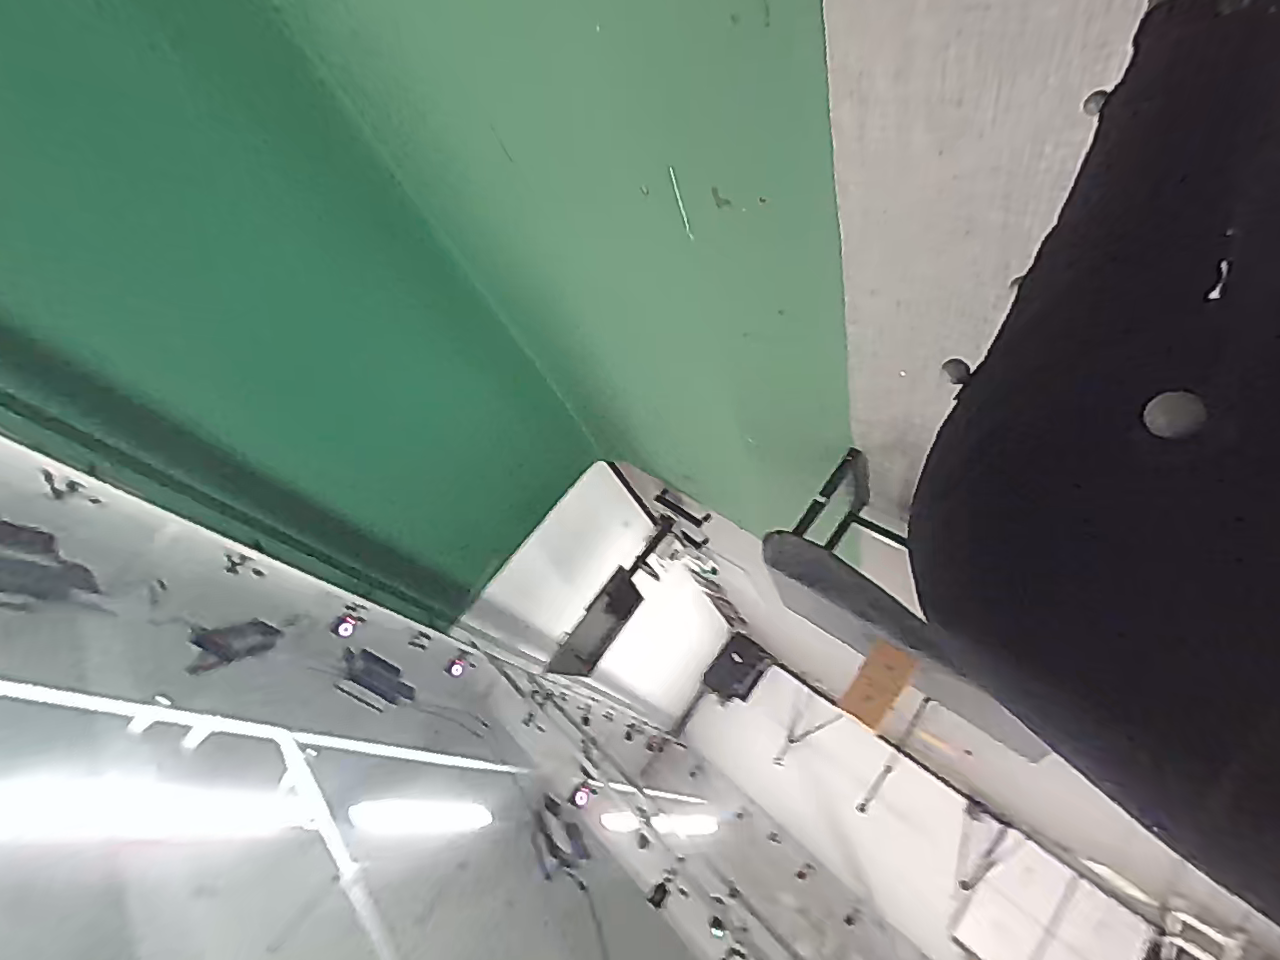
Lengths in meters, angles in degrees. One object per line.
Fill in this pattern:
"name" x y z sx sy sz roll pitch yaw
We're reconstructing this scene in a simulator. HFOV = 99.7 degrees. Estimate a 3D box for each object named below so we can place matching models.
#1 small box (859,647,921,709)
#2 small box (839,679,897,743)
"small box" 1.030 0.812 2.238 0.179 0.176 0.168 30 165 34
"small box" 0.932 0.939 2.209 0.168 0.176 0.179 30 165 35
